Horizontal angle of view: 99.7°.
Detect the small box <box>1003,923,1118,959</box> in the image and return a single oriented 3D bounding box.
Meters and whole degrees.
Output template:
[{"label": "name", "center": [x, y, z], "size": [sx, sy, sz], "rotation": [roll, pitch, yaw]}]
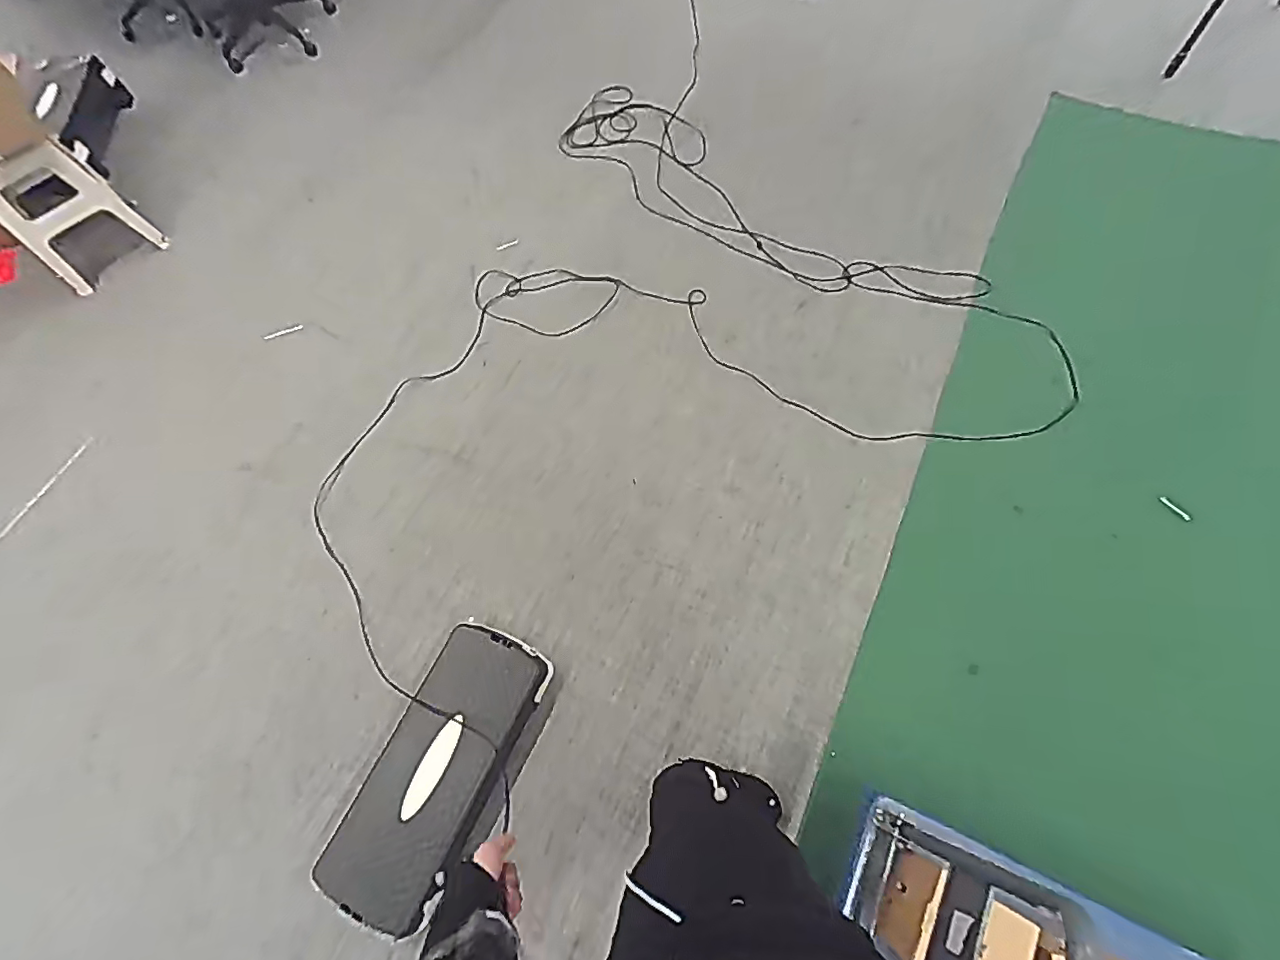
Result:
[{"label": "small box", "center": [0.762, 0.915, 0.942], "size": [0.179, 0.176, 0.168], "rotation": [11, 68, 8]}]
